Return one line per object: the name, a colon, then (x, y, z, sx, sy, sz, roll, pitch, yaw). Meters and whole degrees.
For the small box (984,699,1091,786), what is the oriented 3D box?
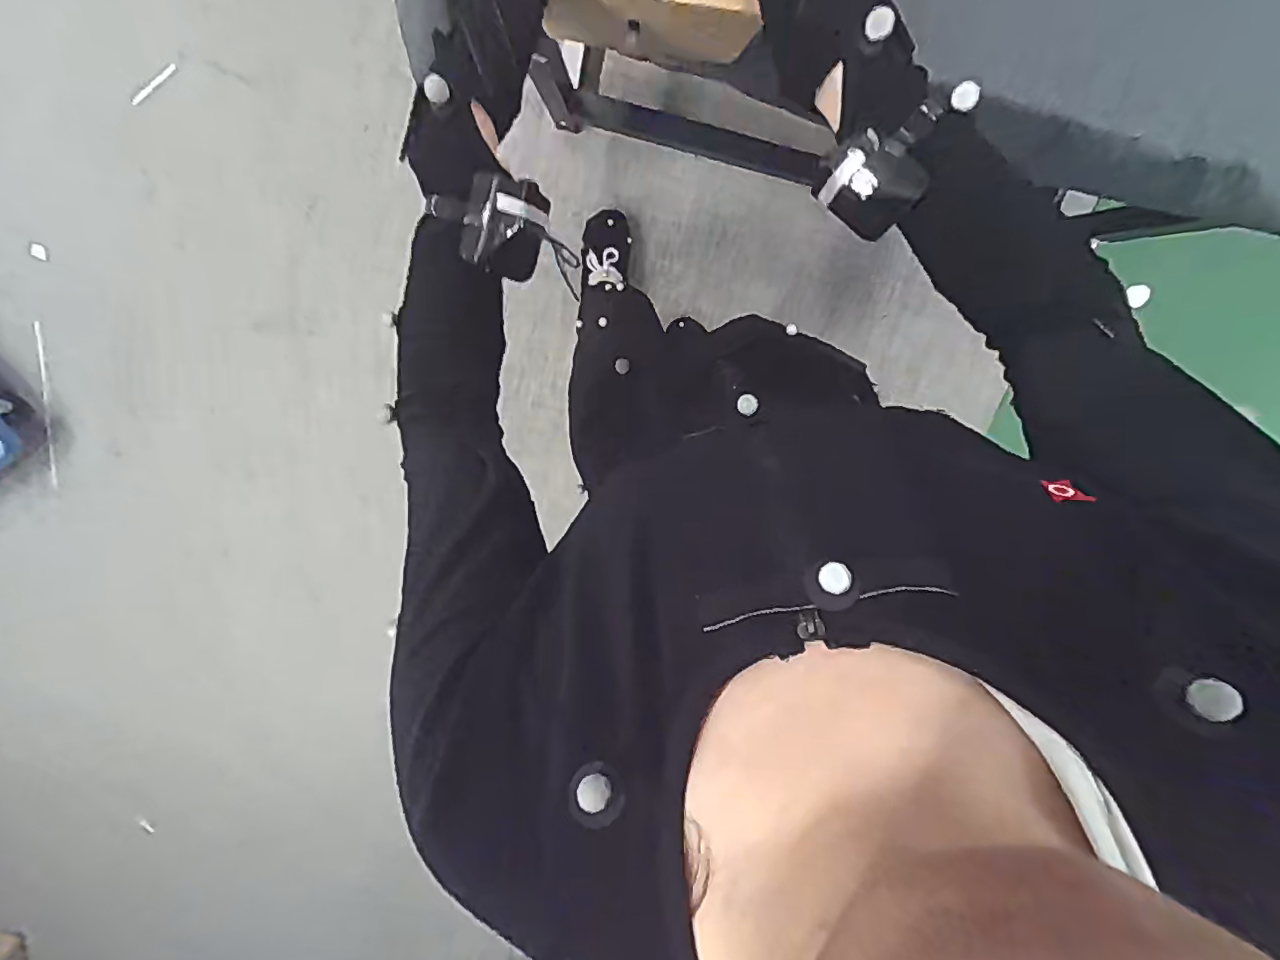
small box: (1.244, 0.823, 1.706, 0.179, 0.176, 0.168, 14, 108, -3)
